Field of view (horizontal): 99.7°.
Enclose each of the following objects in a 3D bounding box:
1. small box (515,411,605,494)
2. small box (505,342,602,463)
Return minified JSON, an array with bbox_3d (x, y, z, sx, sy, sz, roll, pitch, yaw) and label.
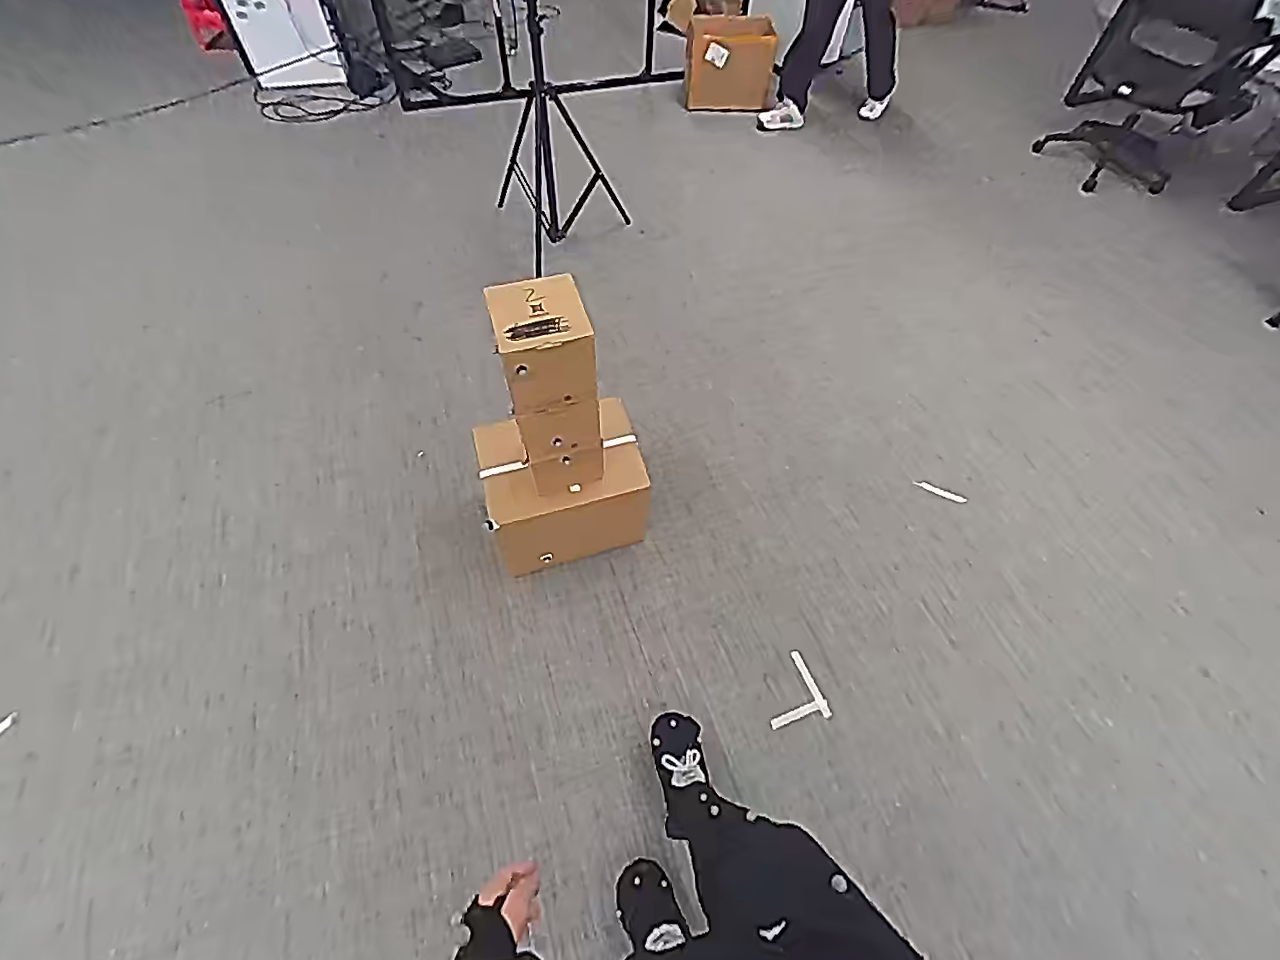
[{"bbox_3d":[-0.190,-0.087,1.314,0.179,0.176,0.168,-16,61,-13],"label":"small box"},{"bbox_3d":[-0.185,-0.165,1.172,0.168,0.176,0.179,-16,61,-12],"label":"small box"}]
